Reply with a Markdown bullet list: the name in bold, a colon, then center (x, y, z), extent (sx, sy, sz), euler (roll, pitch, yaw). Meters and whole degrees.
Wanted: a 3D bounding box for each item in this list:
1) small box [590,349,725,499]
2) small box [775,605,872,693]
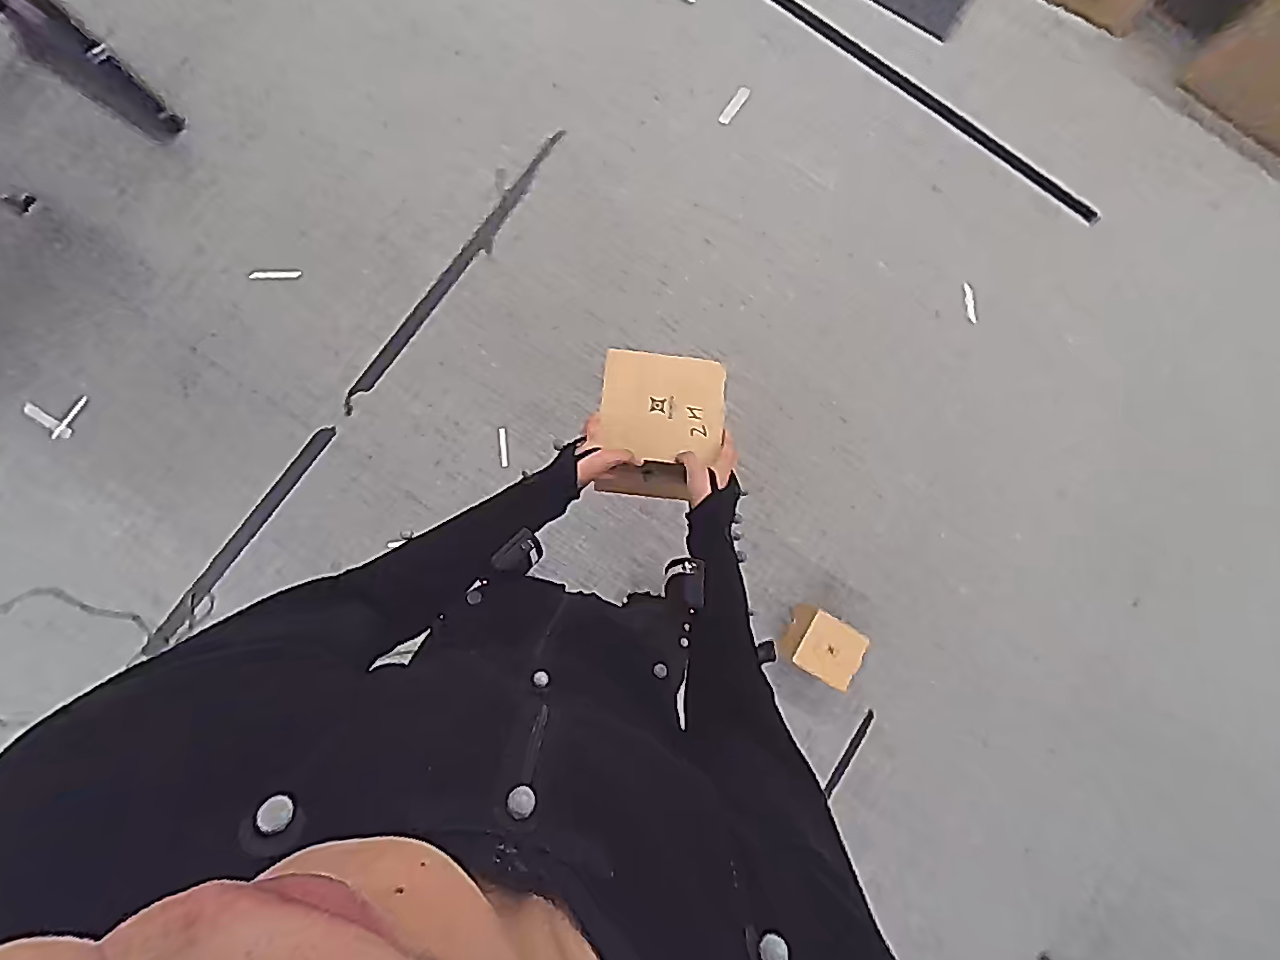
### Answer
- **small box**: center (0.022, -0.076, 0.819), extent (0.179, 0.176, 0.168), euler (7, 72, -3)
- **small box**: center (0.527, 0.482, 1.575), extent (0.179, 0.176, 0.168), euler (32, 83, -1)
